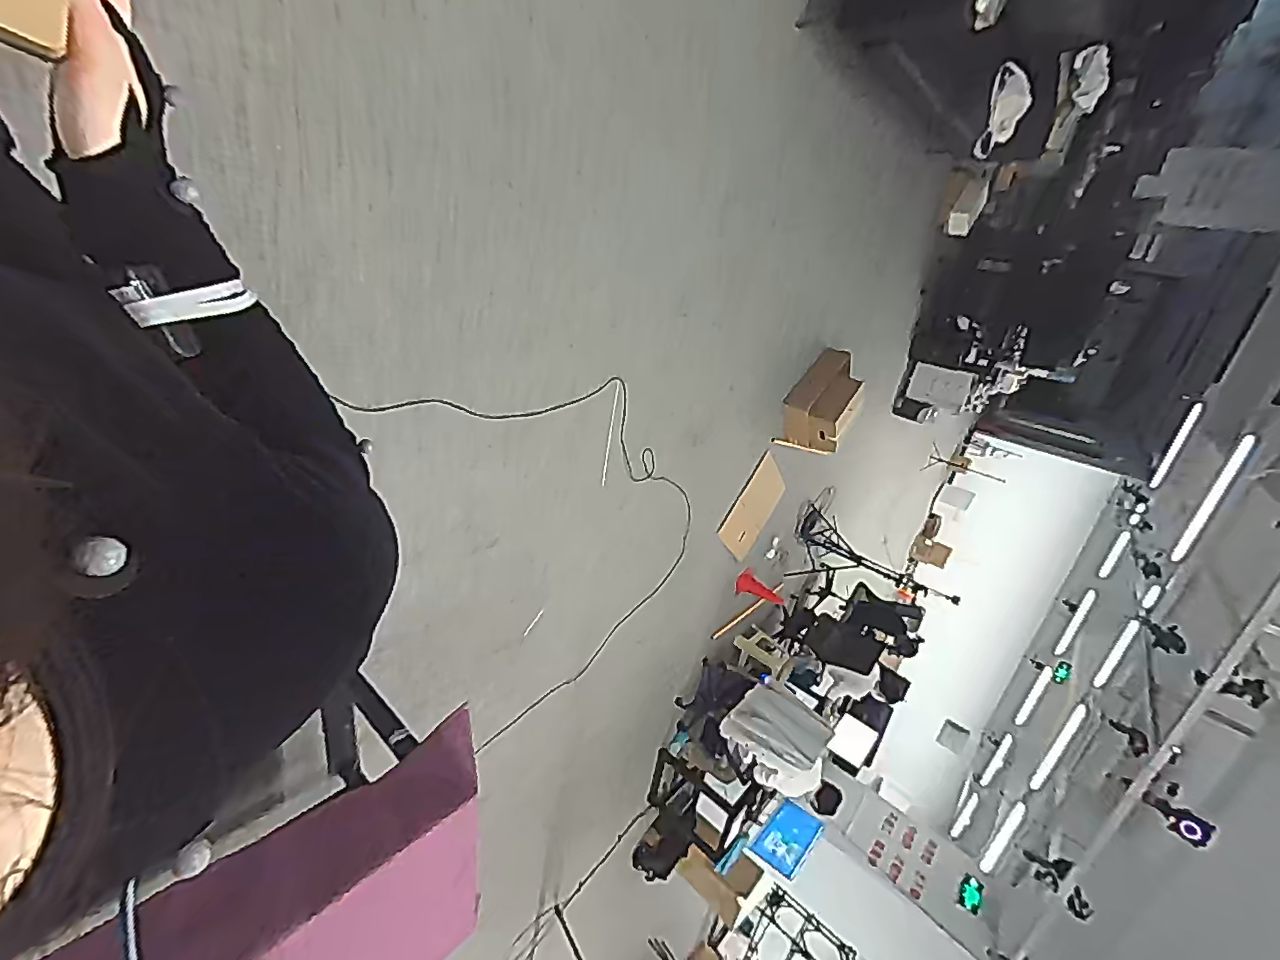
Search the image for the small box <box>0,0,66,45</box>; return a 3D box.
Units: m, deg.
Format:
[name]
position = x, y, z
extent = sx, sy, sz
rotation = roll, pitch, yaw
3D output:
[small box]
position = -0.344, -0.317, 0.212
extent = 0.168, 0.176, 0.179
rotation = 2, 114, -49
